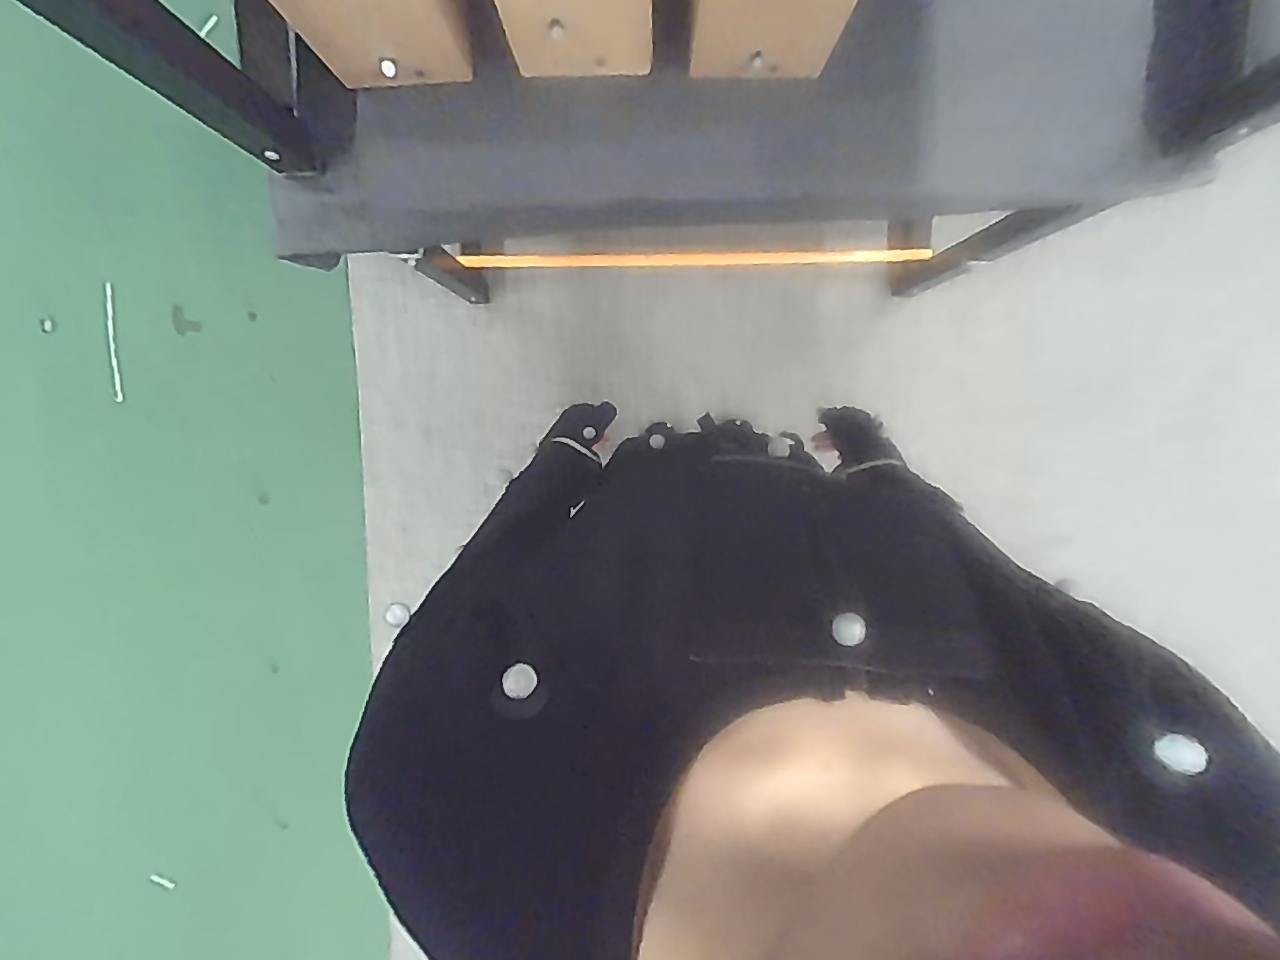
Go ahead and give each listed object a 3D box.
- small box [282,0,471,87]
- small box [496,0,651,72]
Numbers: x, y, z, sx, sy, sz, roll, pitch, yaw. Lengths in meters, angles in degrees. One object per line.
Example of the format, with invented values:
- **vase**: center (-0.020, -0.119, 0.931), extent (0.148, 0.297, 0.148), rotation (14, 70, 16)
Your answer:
- **small box**: center (-0.298, -0.581, 0.599), extent (0.168, 0.176, 0.179), rotation (-3, 97, 1)
- **small box**: center (-0.071, -0.590, 0.598), extent (0.168, 0.176, 0.179), rotation (-1, 96, 0)
